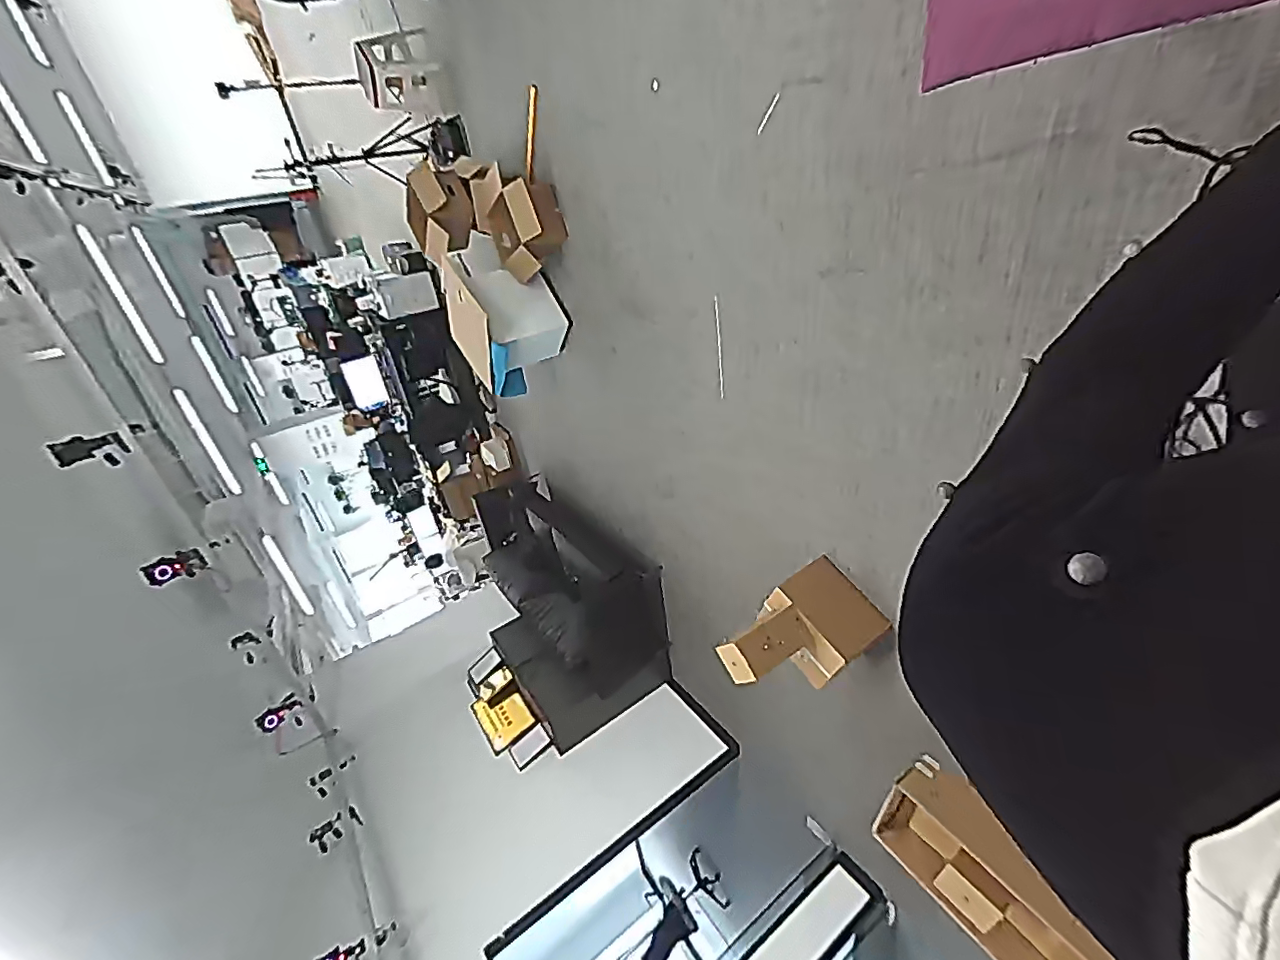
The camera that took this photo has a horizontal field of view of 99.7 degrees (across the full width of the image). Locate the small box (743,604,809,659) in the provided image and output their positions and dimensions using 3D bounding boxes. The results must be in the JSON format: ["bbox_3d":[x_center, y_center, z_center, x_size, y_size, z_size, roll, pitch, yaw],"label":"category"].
[{"bbox_3d":[0.571,0.642,2.272,0.168,0.176,0.179,59,152,11],"label":"small box"}]

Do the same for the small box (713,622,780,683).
[{"bbox_3d":[0.436,0.702,2.197,0.168,0.176,0.179,59,151,11],"label":"small box"}]

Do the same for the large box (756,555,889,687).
[{"bbox_3d":[0.795,0.615,2.394,0.408,0.320,0.320,48,150,28],"label":"large box"}]
